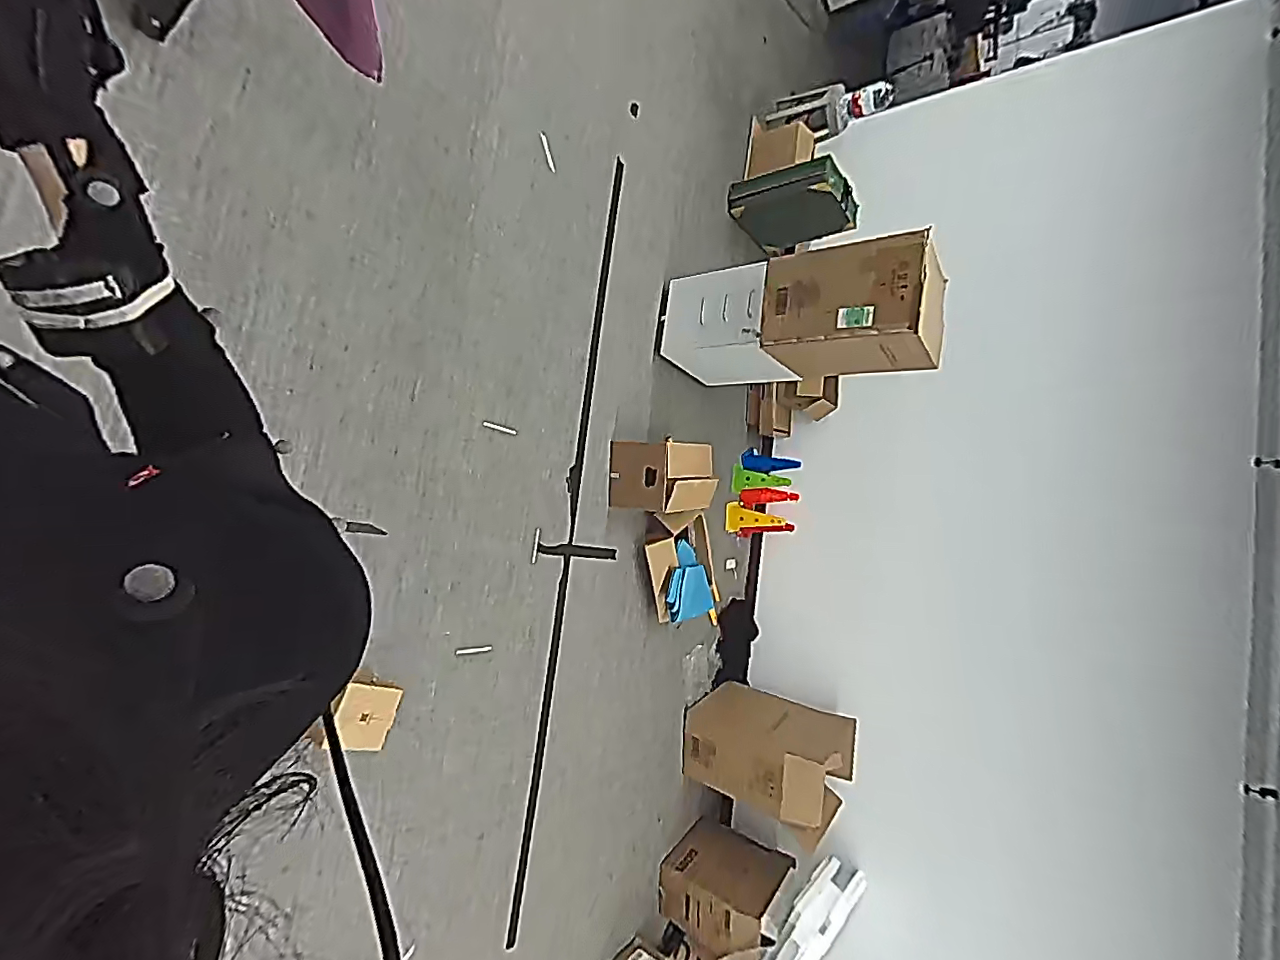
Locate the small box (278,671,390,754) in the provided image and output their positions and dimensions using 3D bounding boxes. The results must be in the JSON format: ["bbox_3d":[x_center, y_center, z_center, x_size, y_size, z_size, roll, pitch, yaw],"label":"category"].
[{"bbox_3d":[-0.833,0.631,1.472,0.179,0.176,0.168,40,60,-49],"label":"small box"}]
